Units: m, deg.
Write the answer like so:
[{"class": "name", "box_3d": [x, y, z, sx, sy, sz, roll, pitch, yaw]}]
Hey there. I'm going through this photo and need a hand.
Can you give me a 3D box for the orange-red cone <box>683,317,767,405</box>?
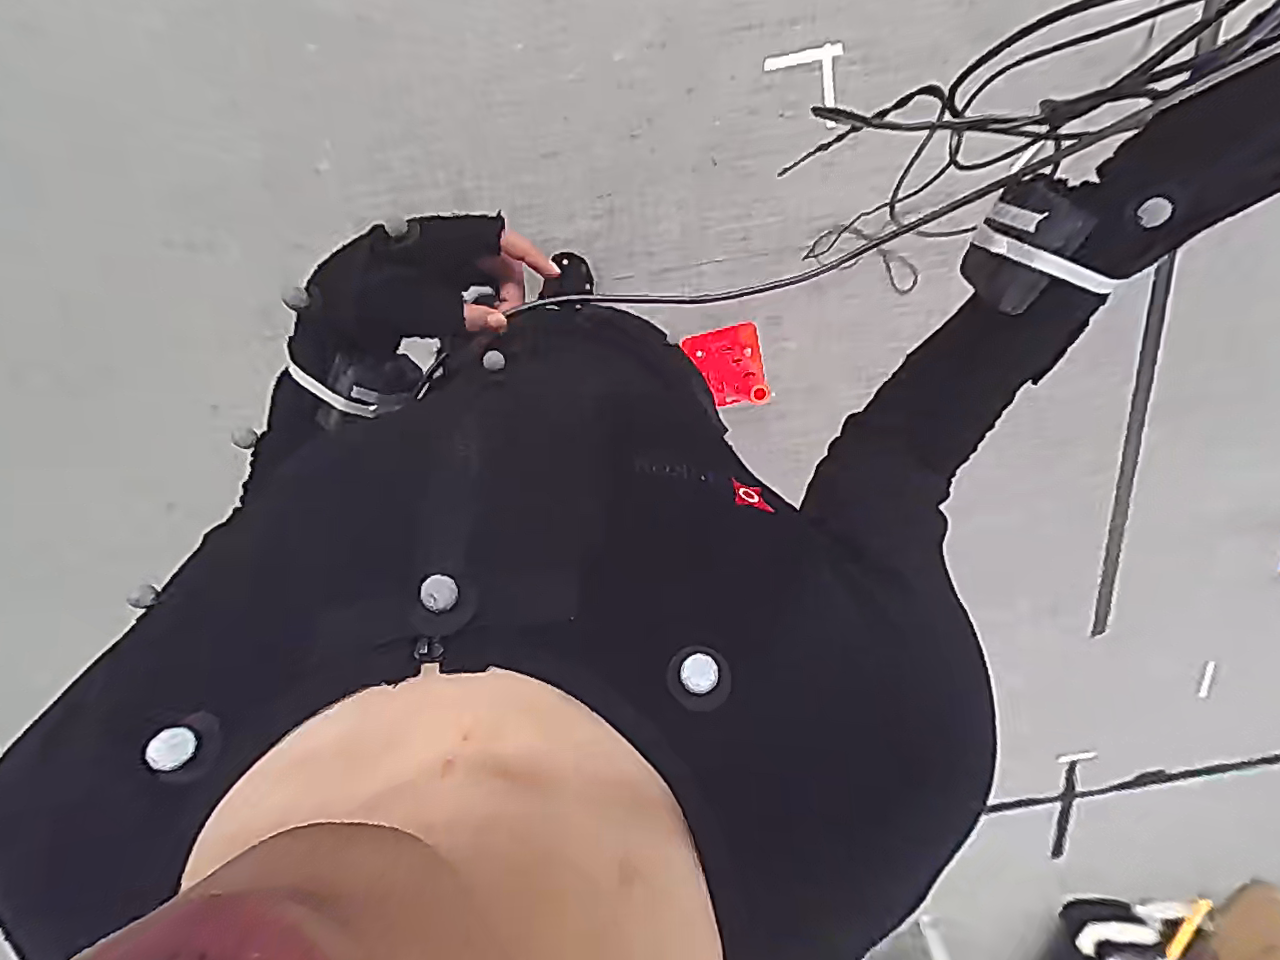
[{"class": "orange-red cone", "box_3d": [0.227, -0.240, 1.227, 0.198, 0.360, 0.199, -13, 112, 3]}]
